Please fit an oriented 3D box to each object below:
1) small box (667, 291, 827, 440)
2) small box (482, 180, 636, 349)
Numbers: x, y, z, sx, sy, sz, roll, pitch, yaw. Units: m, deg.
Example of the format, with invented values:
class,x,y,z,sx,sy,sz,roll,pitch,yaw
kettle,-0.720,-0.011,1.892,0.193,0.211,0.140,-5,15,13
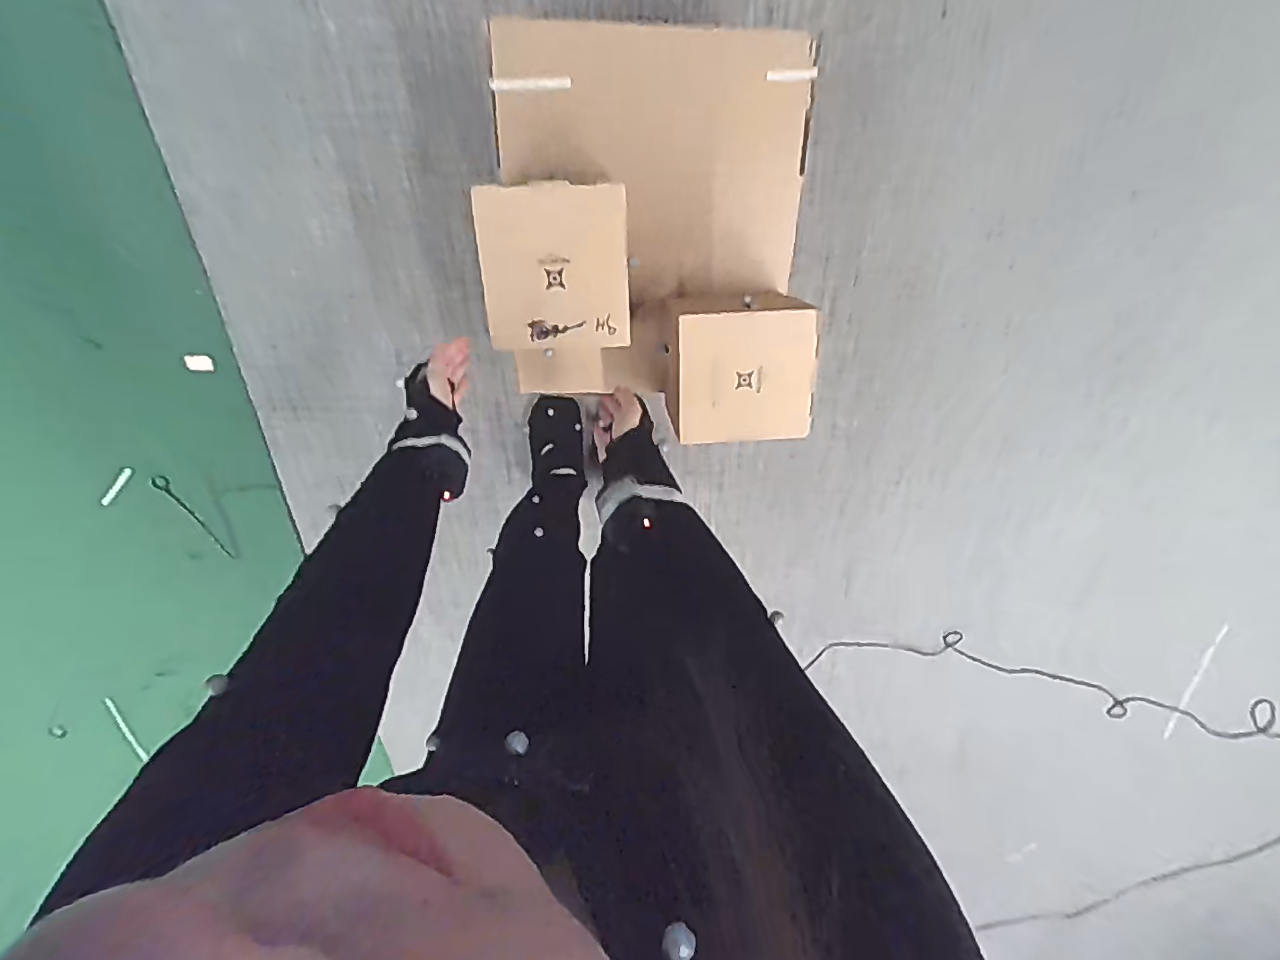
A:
class,x,y,z,sx,sy,sz,roll,pitch,yaw
small box,0.135,-0.164,0.747,0.179,0.176,0.168,-3,115,-2
small box,-0.092,-0.268,0.679,0.168,0.176,0.179,-2,115,-3
